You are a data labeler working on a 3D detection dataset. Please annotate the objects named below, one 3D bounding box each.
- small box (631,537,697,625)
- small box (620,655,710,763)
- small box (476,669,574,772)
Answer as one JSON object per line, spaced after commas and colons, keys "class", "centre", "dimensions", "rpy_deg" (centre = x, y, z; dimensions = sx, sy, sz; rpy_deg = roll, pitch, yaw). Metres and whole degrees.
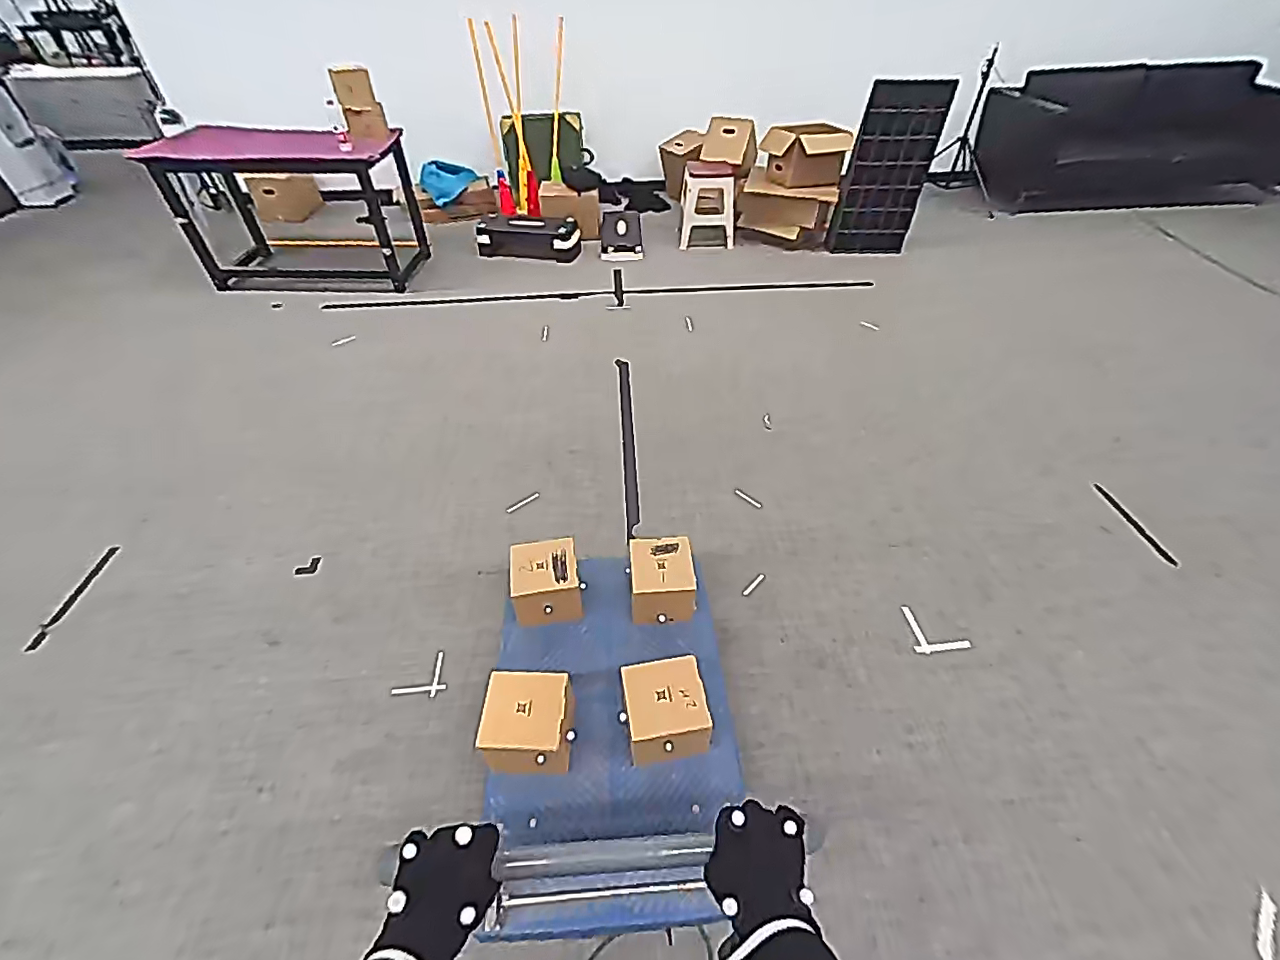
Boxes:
{"class": "small box", "centre": [0.060, 0.280, 1.497], "dimensions": [0.168, 0.176, 0.179], "rpy_deg": [-3, 46, -2]}
{"class": "small box", "centre": [0.054, 0.530, 1.245], "dimensions": [0.179, 0.176, 0.168], "rpy_deg": [-7, 45, -6]}
{"class": "small box", "centre": [-0.252, 0.550, 1.230], "dimensions": [0.179, 0.176, 0.168], "rpy_deg": [2, 44, 0]}
